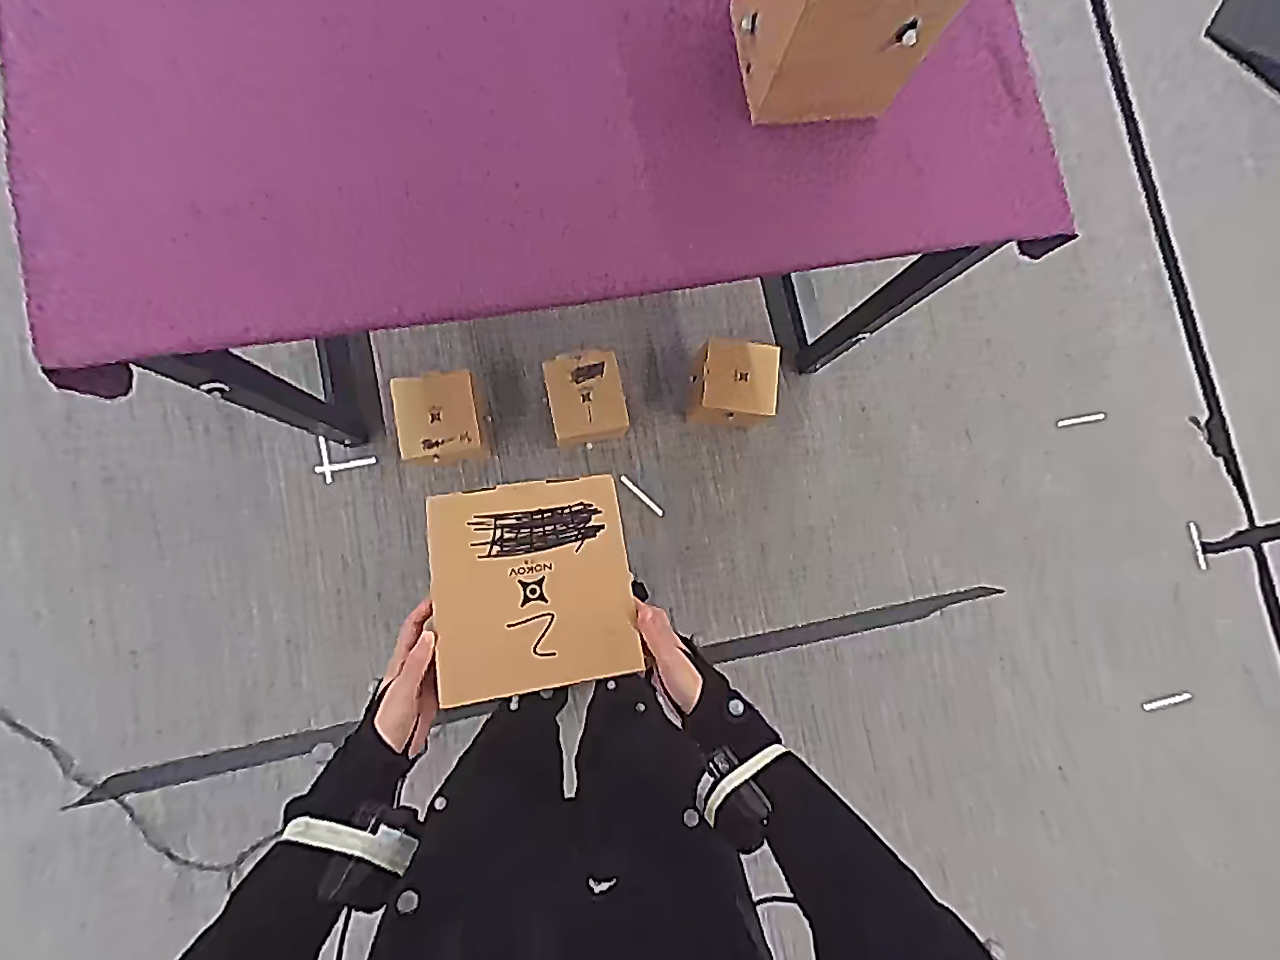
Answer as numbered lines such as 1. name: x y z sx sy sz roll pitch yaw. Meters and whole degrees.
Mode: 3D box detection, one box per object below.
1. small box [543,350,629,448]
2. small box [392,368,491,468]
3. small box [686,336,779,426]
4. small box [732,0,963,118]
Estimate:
1. small box: -0.130 -0.183 1.261 0.168 0.176 0.179 -11 87 -8
2. small box: -0.439 -0.134 1.216 0.168 0.176 0.179 -9 85 -8
3. small box: 0.220 -0.232 1.313 0.179 0.176 0.168 6 84 -6
4. small box: 0.220 -0.542 0.603 0.179 0.176 0.168 -9 85 -8
